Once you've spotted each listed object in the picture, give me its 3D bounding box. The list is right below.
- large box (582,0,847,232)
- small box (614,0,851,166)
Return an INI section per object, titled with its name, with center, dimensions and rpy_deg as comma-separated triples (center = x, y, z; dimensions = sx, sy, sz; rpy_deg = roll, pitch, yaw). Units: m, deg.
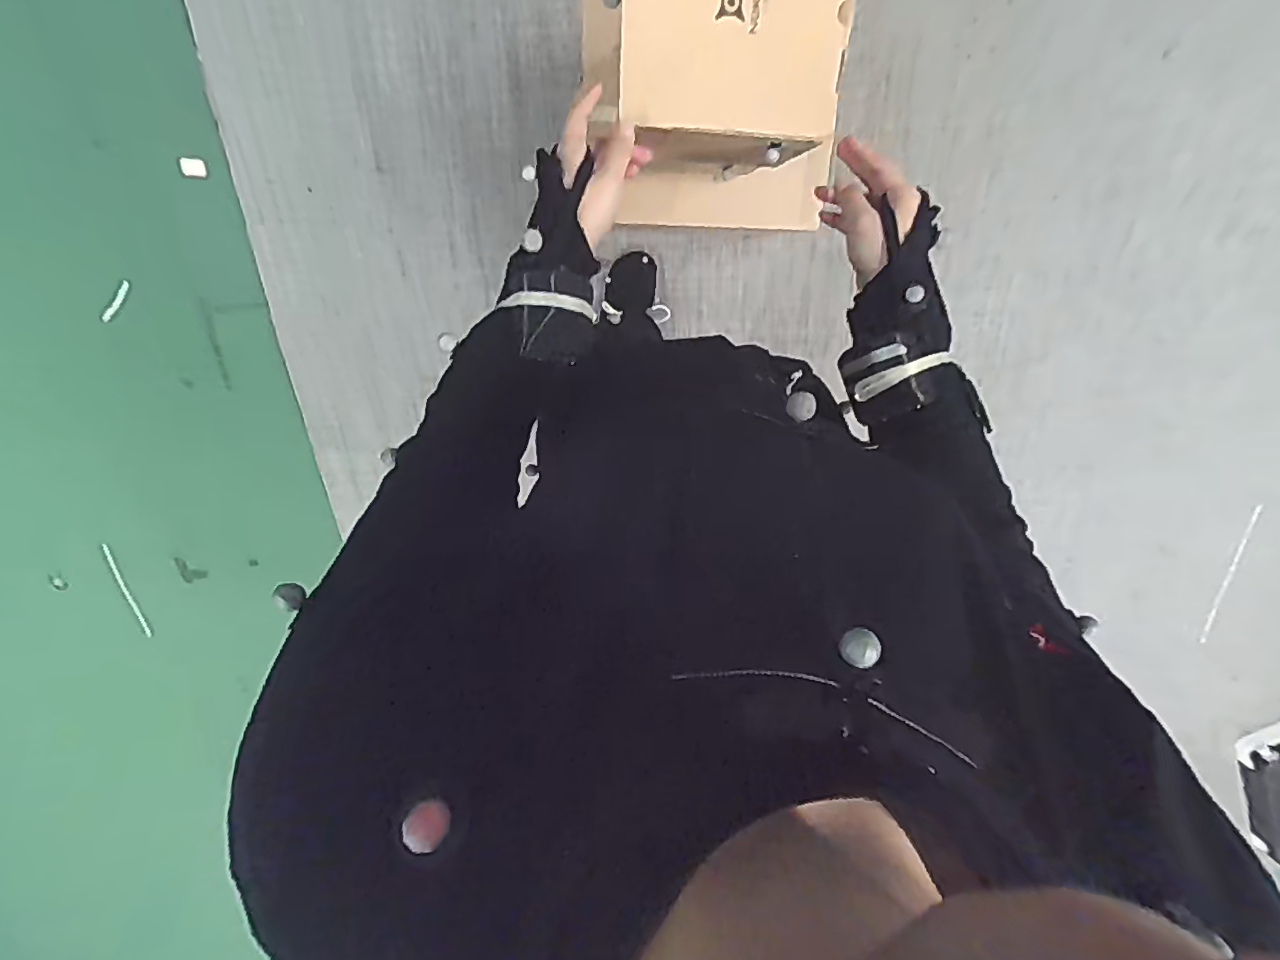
[large box]
center = 0.106, -0.630, 0.990
dimensions = 0.408, 0.320, 0.320
rpy_deg = 0, 114, -3
[small box]
center = 0.067, -0.383, 0.473
dimensions = 0.179, 0.176, 0.168
rpy_deg = 1, 113, -4
